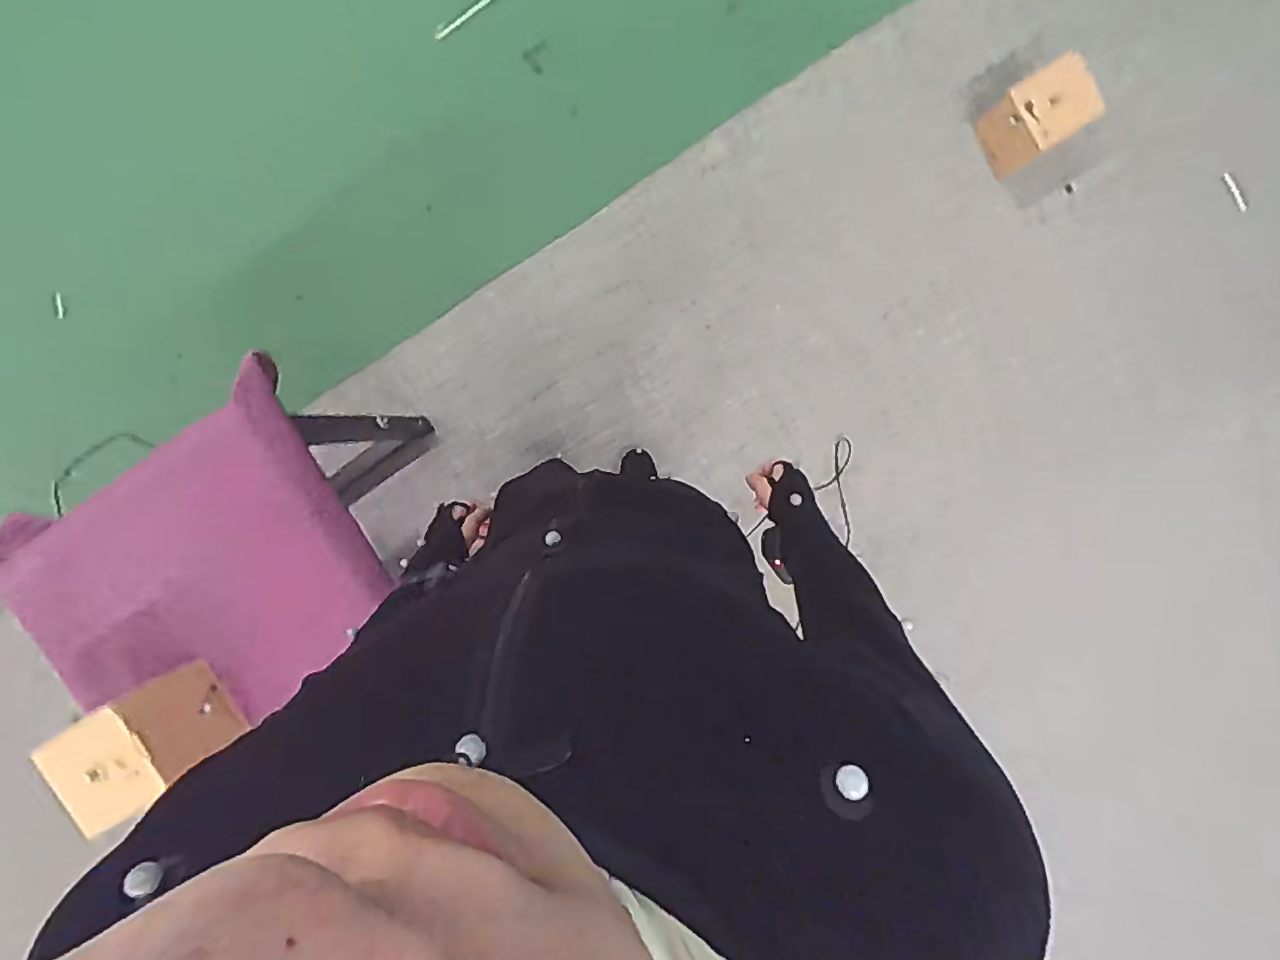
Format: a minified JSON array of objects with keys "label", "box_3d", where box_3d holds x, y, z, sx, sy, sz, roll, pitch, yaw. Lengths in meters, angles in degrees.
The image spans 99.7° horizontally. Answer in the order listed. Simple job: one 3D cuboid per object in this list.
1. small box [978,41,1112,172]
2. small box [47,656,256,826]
[{"label":"small box","box_3d":[1.004,-0.925,1.356,0.179,0.176,0.168,-31,92,6]},{"label":"small box","box_3d":[-0.829,0.440,0.937,0.179,0.176,0.168,-31,93,7]}]
